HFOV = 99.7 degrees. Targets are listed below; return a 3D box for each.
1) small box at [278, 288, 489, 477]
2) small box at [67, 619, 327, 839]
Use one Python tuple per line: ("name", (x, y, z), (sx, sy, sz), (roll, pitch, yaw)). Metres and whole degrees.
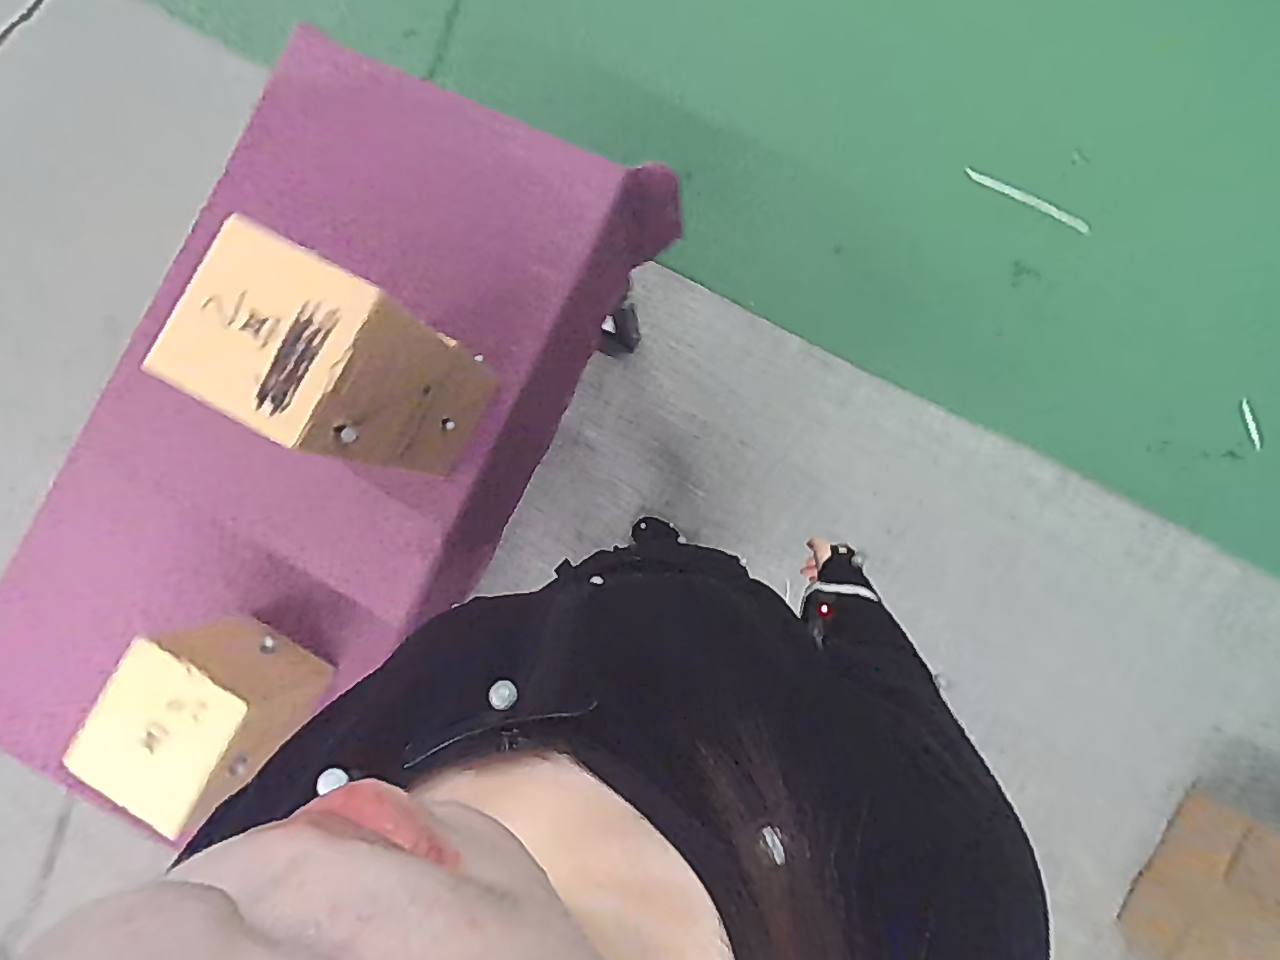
("small box", (-0.330, -0.120, 0.738), (0.168, 0.176, 0.179), (28, 88, 6))
("small box", (-0.560, 0.308, 0.711), (0.168, 0.176, 0.179), (28, 87, 5))
